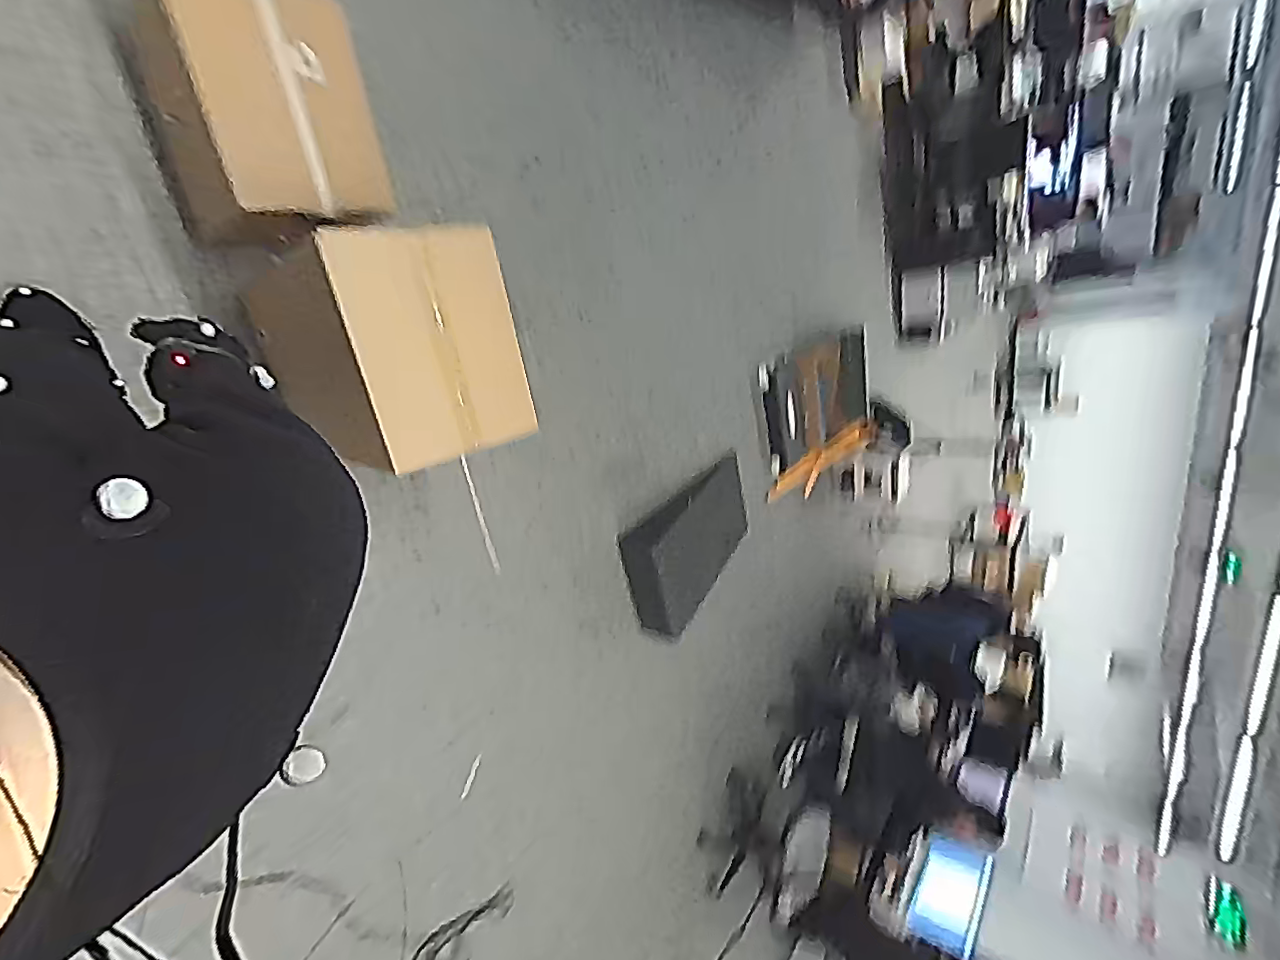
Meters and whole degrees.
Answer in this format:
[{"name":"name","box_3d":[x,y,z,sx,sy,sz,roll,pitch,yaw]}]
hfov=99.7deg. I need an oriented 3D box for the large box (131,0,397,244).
[{"name":"large box","box_3d":[-0.781,-0.747,1.141,0.320,0.320,0.408,-27,114,-45]}]
